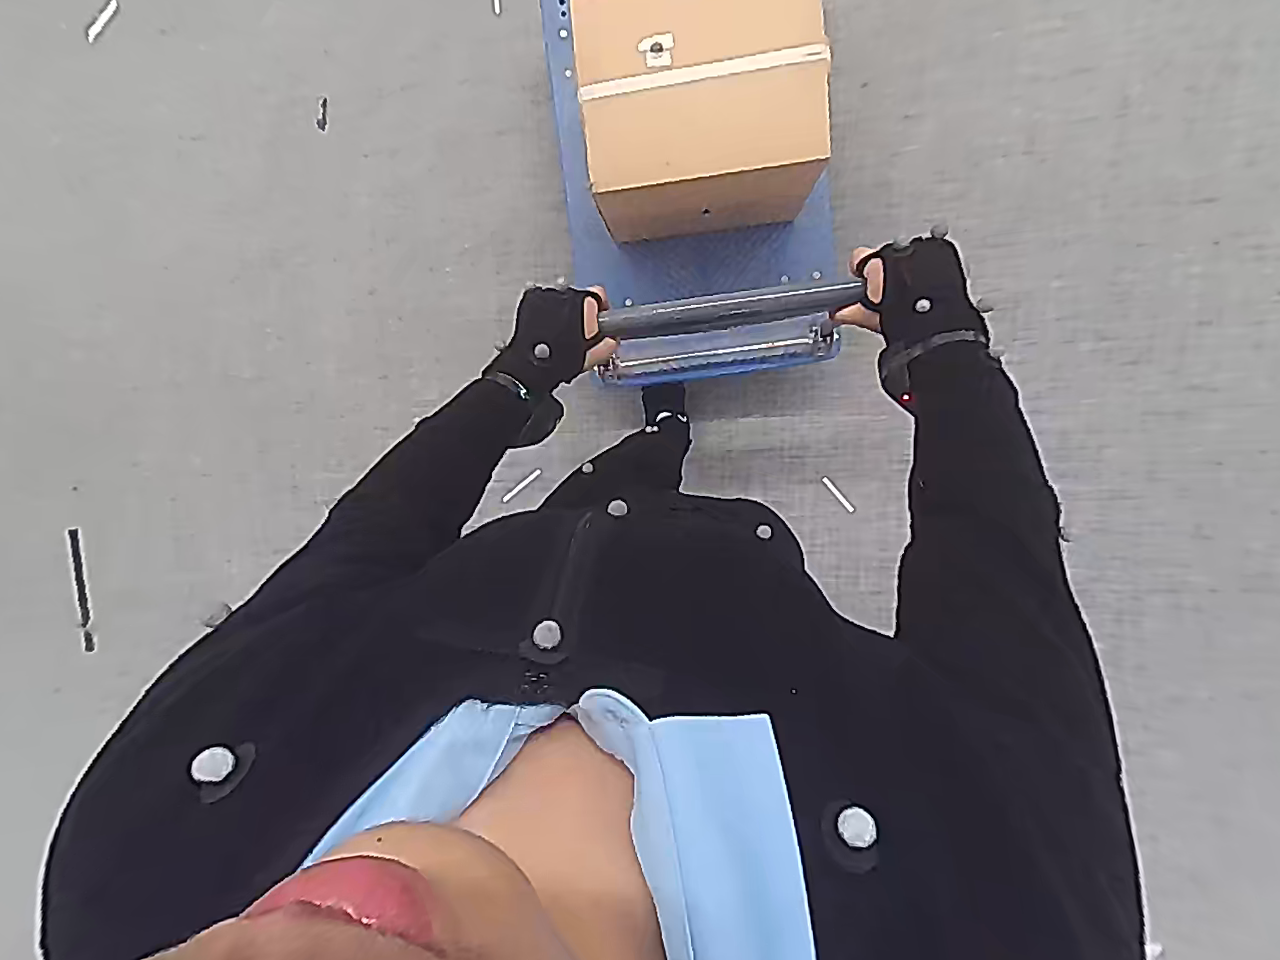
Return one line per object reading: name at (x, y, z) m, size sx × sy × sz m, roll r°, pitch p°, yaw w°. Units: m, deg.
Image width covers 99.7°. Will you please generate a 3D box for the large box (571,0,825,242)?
large box at (0.113, -0.691, 1.052) m, size 0.408 × 0.320 × 0.320 m, roll -6°, pitch 97°, yaw 7°
